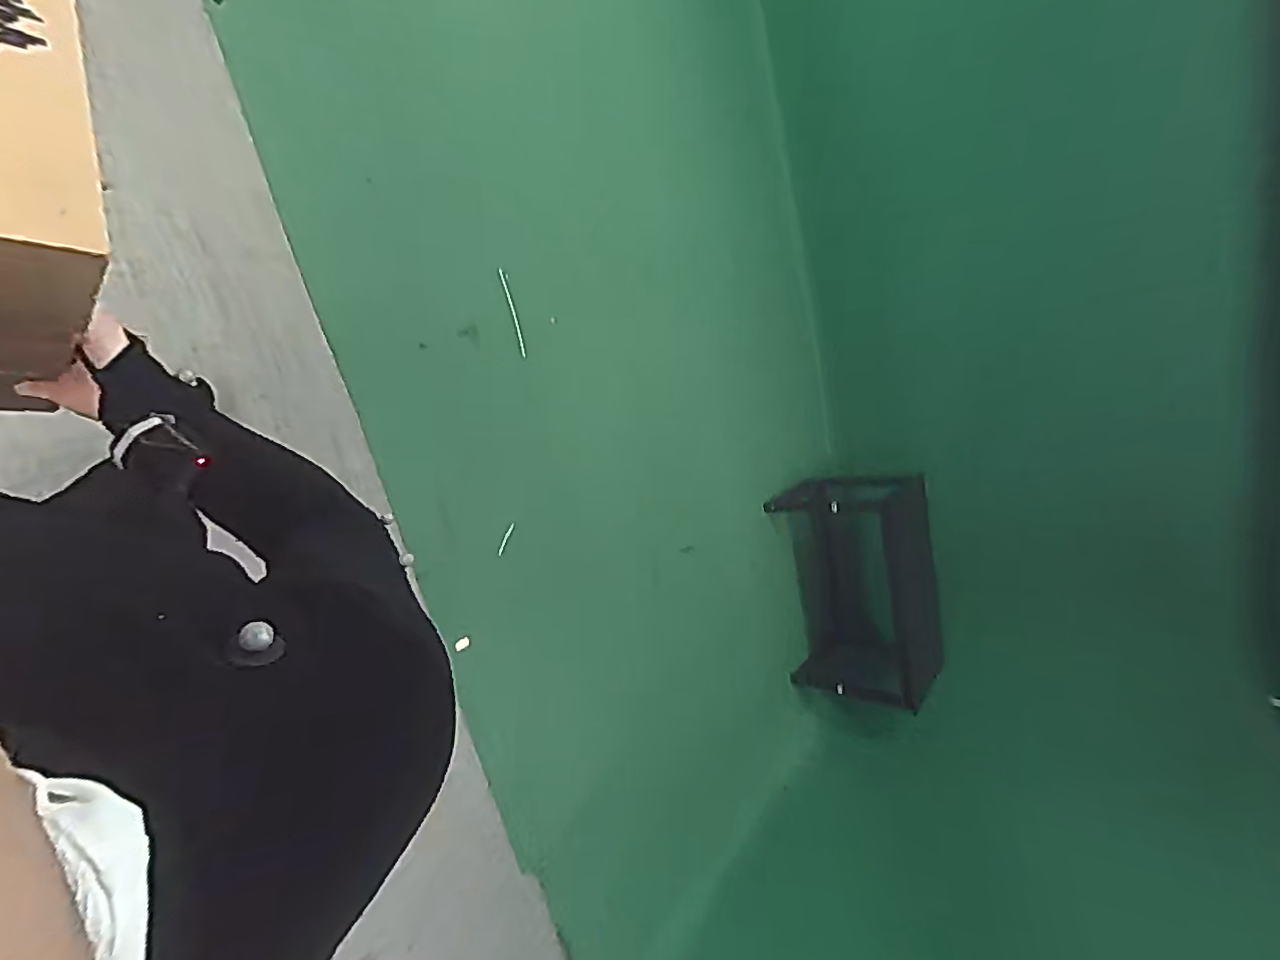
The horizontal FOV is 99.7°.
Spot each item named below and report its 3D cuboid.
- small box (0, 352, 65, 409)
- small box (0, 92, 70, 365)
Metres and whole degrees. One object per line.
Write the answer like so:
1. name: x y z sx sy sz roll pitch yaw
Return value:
1. small box: -0.699 -0.178 0.534 0.168 0.176 0.179 -5 86 -49
2. small box: -0.575 -0.201 0.426 0.168 0.176 0.179 -4 85 -50
